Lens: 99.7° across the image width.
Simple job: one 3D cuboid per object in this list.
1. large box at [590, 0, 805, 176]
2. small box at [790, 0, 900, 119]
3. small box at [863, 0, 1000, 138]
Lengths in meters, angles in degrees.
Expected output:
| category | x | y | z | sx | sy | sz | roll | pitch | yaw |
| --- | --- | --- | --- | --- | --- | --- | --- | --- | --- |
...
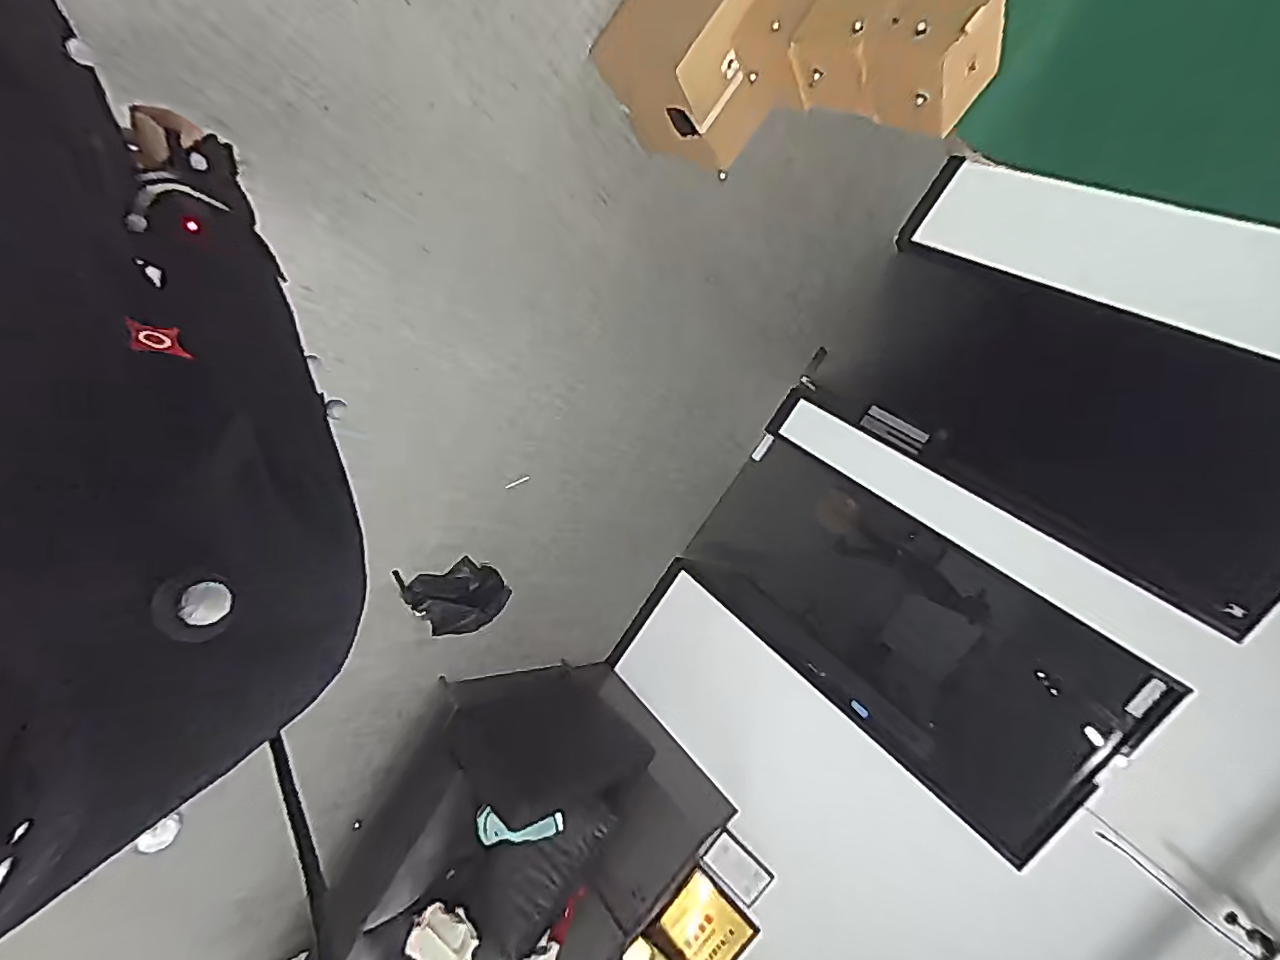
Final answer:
| category | x | y | z | sx | sy | sz | roll | pitch | yaw |
| --- | --- | --- | --- | --- | --- | --- | --- | --- | --- |
| large box | 0.154 | -1.077 | 1.353 | 0.408 | 0.320 | 0.320 | -53 | 147 | 6 |
| small box | 0.442 | -0.903 | 1.118 | 0.179 | 0.176 | 0.168 | -54 | 148 | 7 |
| small box | 0.553 | -0.811 | 1.042 | 0.168 | 0.176 | 0.179 | -51 | 149 | 6 |
